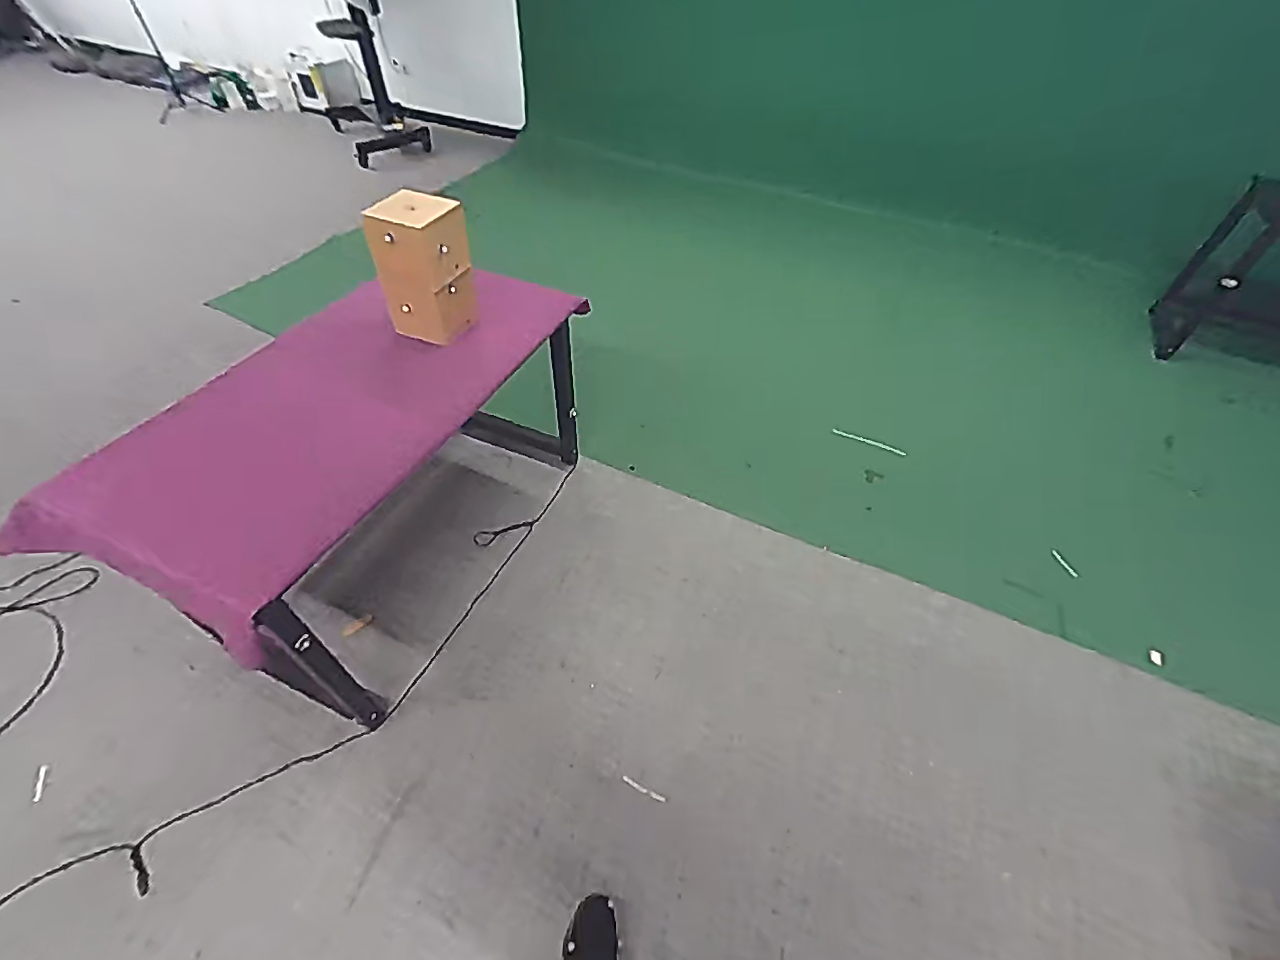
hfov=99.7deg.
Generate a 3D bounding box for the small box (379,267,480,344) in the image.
[{"bbox_3d":[-0.569,-0.497,1.486,0.179,0.176,0.168,17,50,12],"label":"small box"}]

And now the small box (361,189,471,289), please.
[{"bbox_3d":[-0.551,-0.602,1.363,0.179,0.176,0.168,18,51,13],"label":"small box"}]
